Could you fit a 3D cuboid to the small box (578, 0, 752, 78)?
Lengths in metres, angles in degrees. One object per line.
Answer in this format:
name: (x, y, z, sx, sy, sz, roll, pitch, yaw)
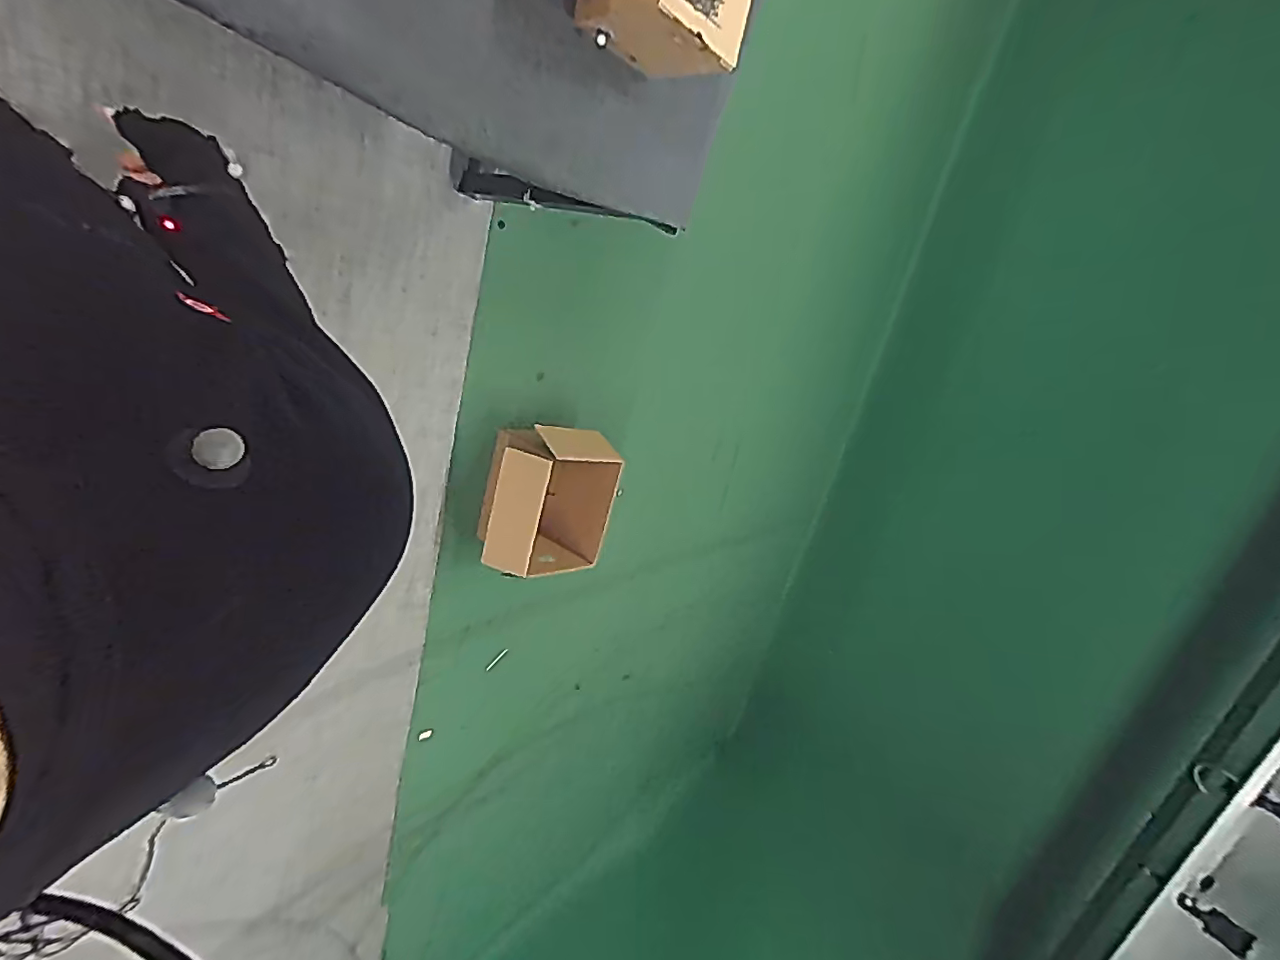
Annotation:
small box: (0.038, -0.673, 0.722, 0.168, 0.176, 0.179, -6, 116, -48)
